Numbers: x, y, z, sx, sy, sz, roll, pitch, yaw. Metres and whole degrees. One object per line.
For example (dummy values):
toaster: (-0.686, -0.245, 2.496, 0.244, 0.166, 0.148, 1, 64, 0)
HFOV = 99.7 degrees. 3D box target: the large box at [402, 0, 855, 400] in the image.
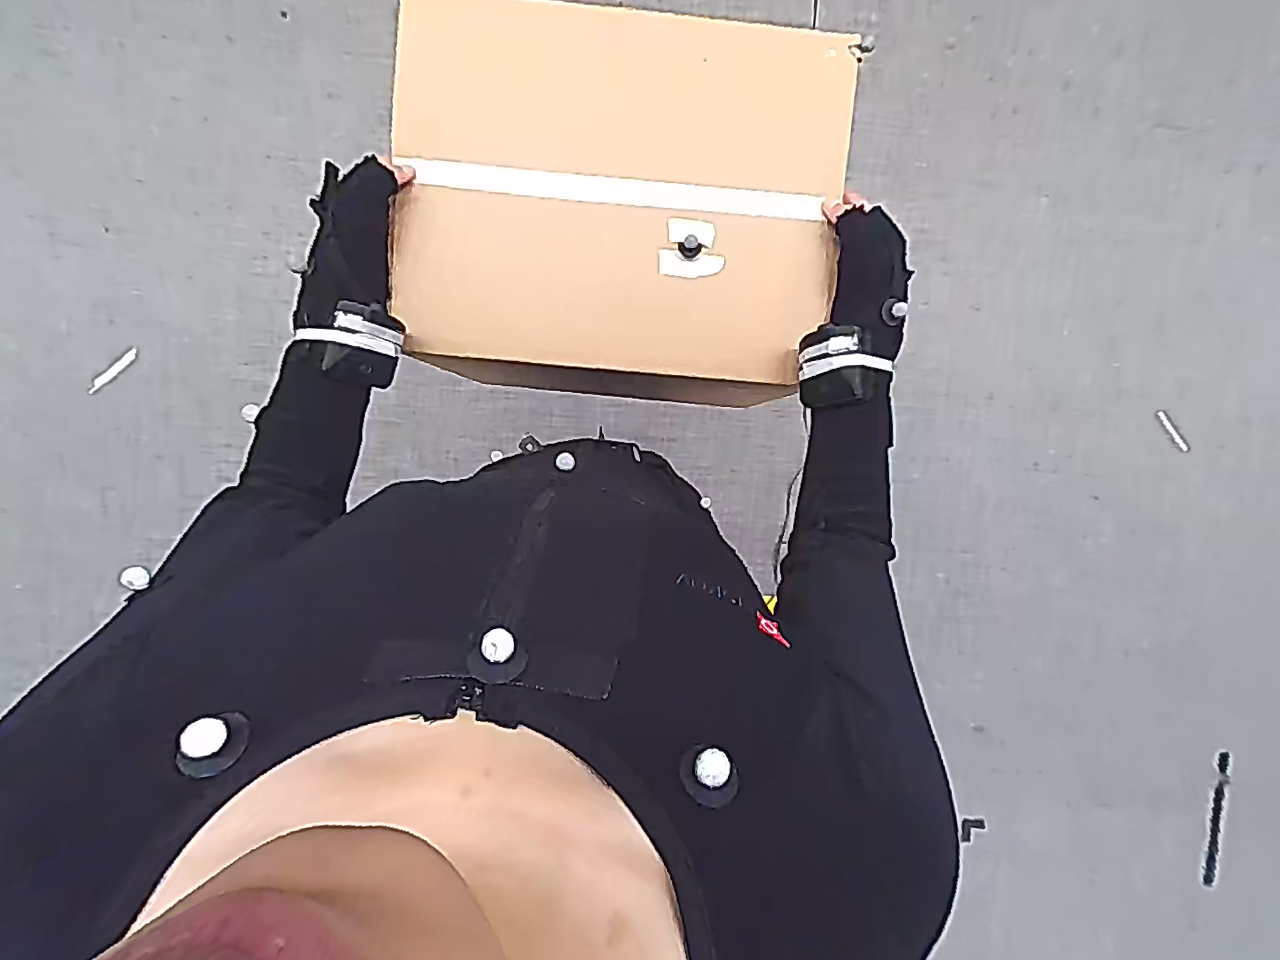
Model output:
large box: (-0.018, -0.272, 0.640, 0.408, 0.320, 0.320, 4, 94, -3)

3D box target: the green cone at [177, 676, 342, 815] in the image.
green cone: (-0.933, 0.661, 1.292, 0.202, 0.368, 0.200, -34, 92, 1)
